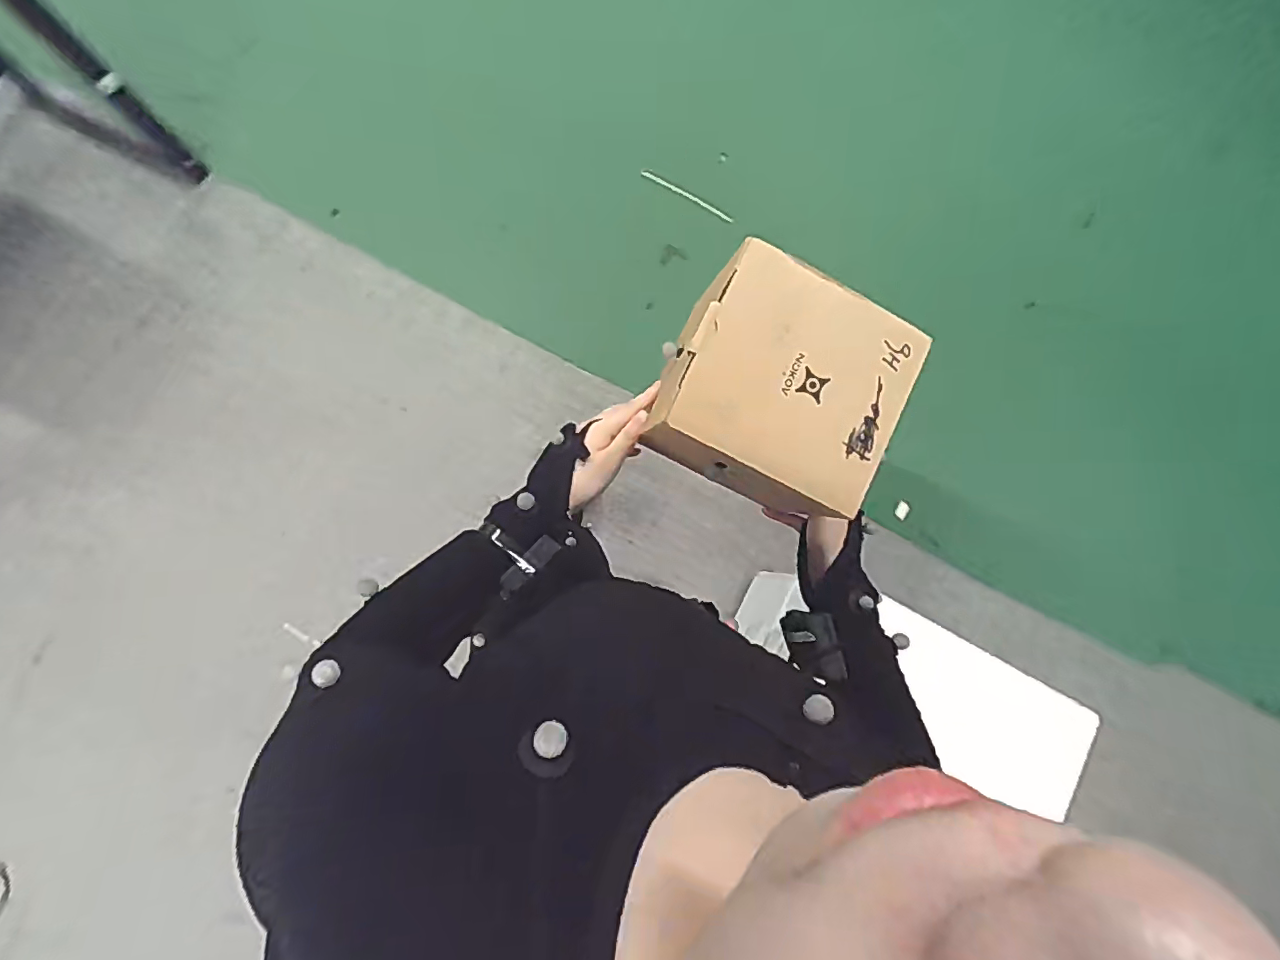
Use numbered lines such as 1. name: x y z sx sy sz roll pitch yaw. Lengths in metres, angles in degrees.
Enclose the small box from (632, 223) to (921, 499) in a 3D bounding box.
1. small box: 0.107 -0.089 0.502 0.179 0.176 0.168 26 85 -8
